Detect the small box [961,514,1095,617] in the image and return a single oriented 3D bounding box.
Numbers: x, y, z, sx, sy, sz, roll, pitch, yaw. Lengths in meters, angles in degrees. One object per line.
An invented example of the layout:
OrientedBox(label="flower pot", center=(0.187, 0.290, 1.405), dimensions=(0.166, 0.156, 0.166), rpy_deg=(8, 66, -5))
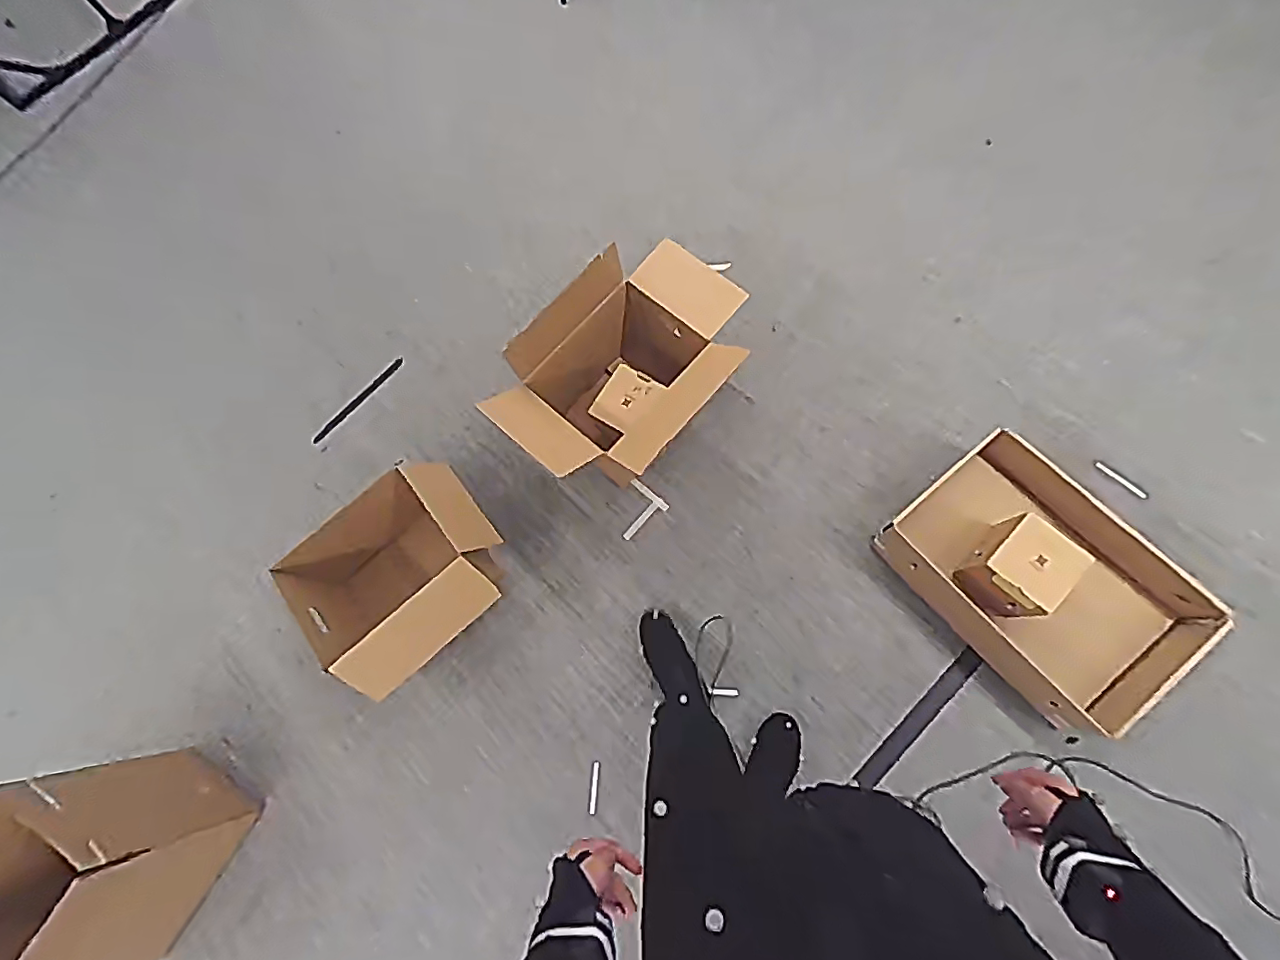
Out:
OrientedBox(label="small box", center=(0.907, 0.211, 1.289), dimensions=(0.179, 0.176, 0.168), rpy_deg=(-45, 74, -8))
